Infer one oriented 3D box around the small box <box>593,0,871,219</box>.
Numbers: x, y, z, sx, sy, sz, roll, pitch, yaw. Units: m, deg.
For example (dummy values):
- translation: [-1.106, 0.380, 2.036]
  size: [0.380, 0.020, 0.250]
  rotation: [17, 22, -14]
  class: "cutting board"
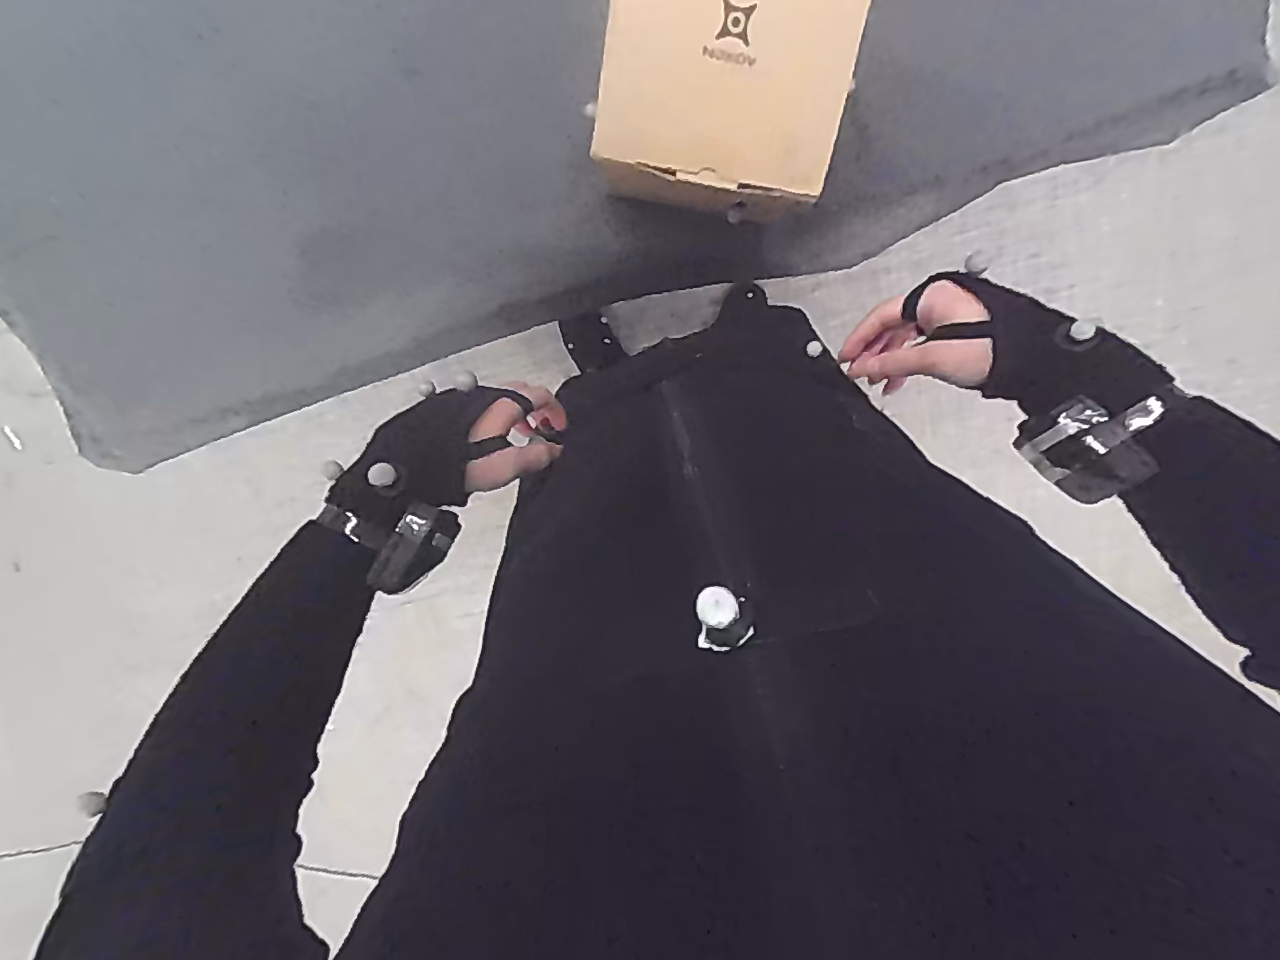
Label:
- translation: [0.059, -0.314, 0.422]
  size: [0.168, 0.176, 0.179]
  rotation: [7, 110, -5]
  class: "small box"
